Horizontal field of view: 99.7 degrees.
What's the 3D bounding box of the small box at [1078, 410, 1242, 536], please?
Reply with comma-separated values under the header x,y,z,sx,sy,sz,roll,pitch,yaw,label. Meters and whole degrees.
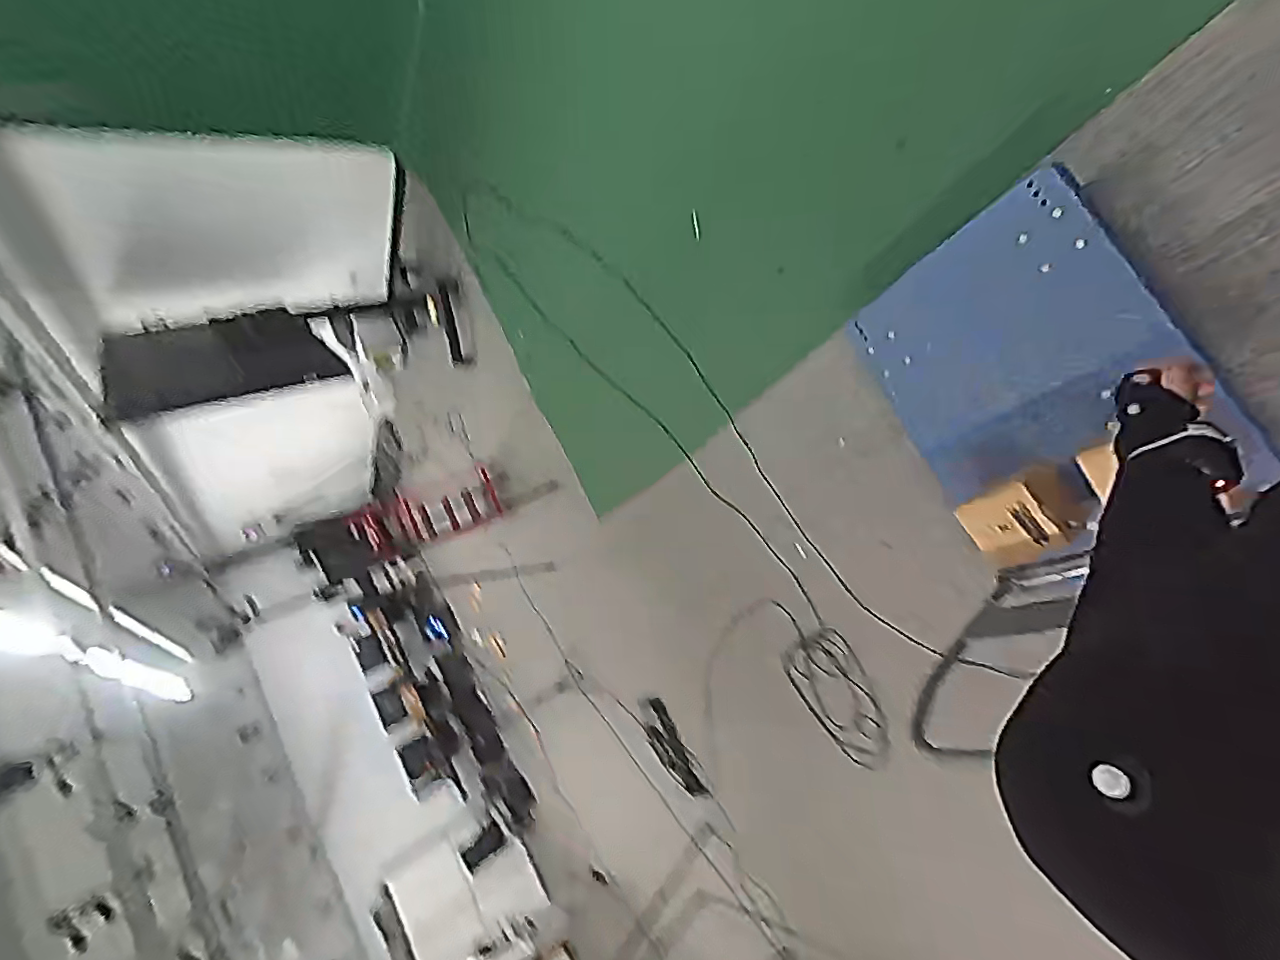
x,y,z,sx,sy,sz,roll,pitch,yaw,label
1.023,-0.015,1.063,0.168,0.176,0.179,-37,77,54,small box
